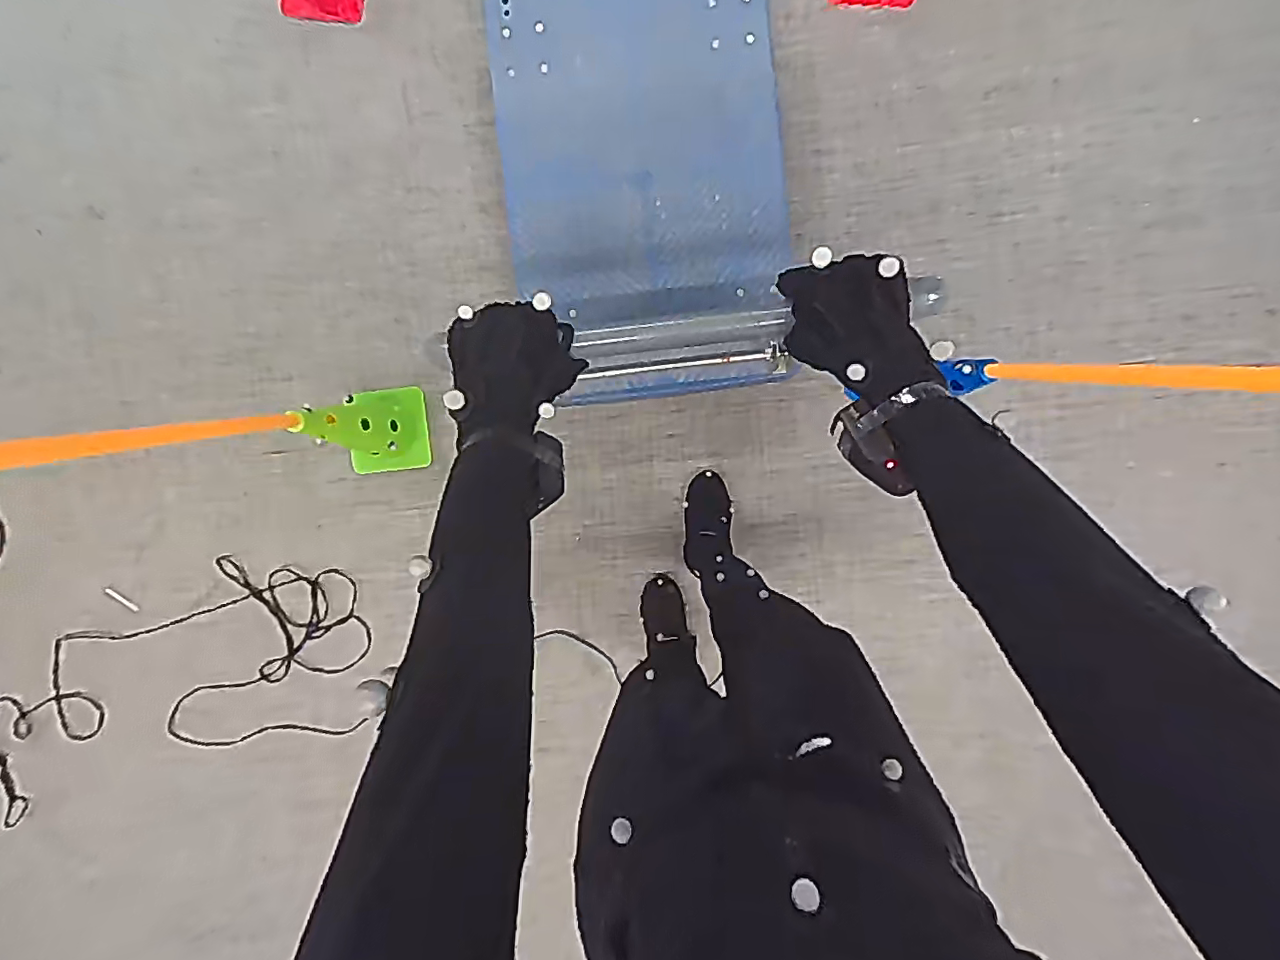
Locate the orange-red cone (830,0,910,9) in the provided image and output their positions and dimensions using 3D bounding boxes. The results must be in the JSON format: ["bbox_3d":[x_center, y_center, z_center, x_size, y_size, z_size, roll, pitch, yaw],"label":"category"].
[{"bbox_3d":[0.529,-1.179,1.073,0.198,0.360,0.199,6,94,2],"label":"orange-red cone"}]
